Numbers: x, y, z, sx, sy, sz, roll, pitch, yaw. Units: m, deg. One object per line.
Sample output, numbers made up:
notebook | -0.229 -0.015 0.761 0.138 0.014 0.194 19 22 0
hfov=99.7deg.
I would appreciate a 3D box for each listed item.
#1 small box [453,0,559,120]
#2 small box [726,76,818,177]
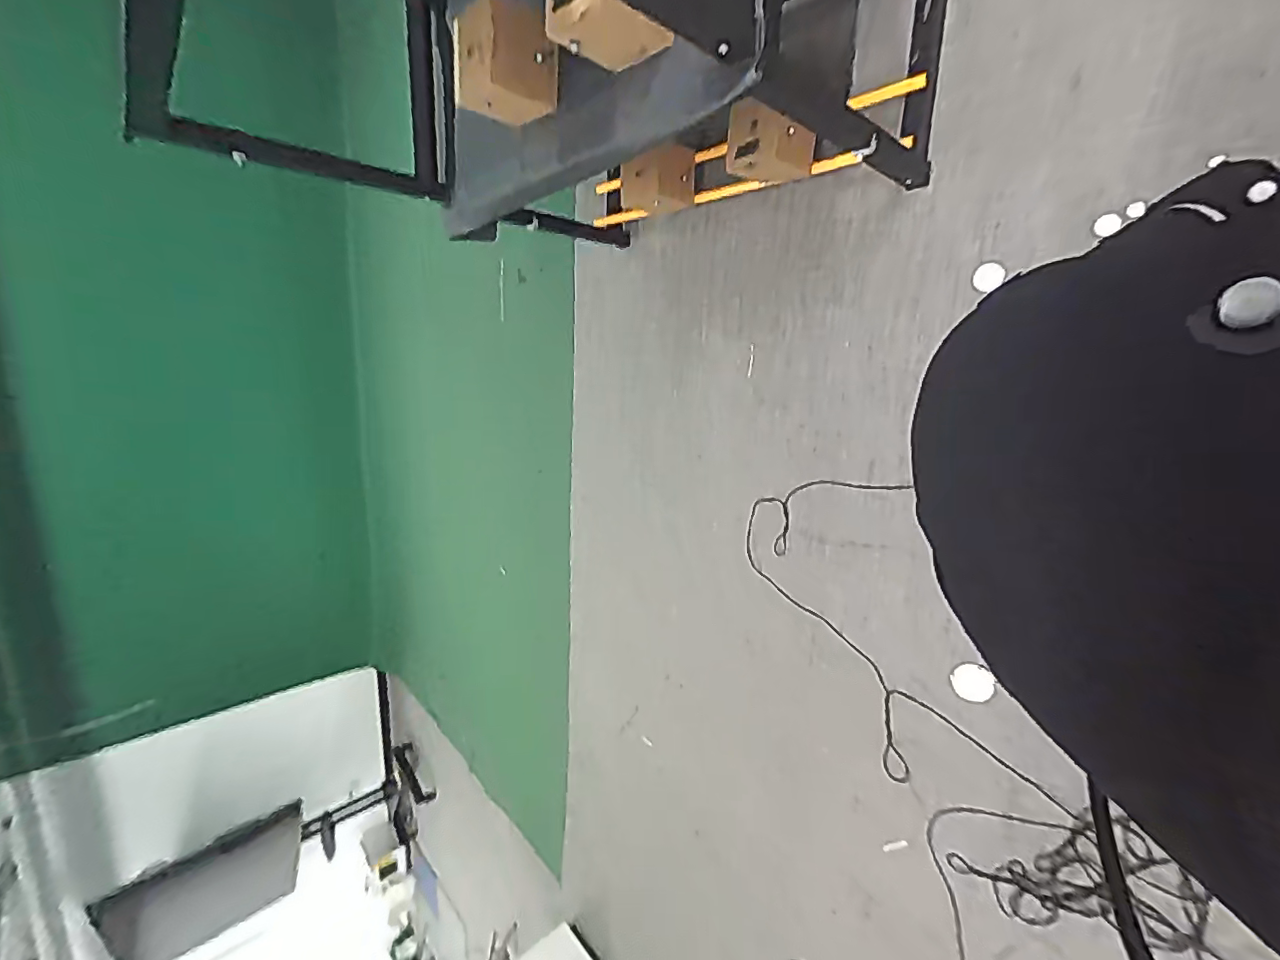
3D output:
small box | -0.302 -0.937 1.210 0.179 0.176 0.168 18 111 44
small box | 0.350 -0.919 1.429 0.168 0.176 0.179 19 111 44
